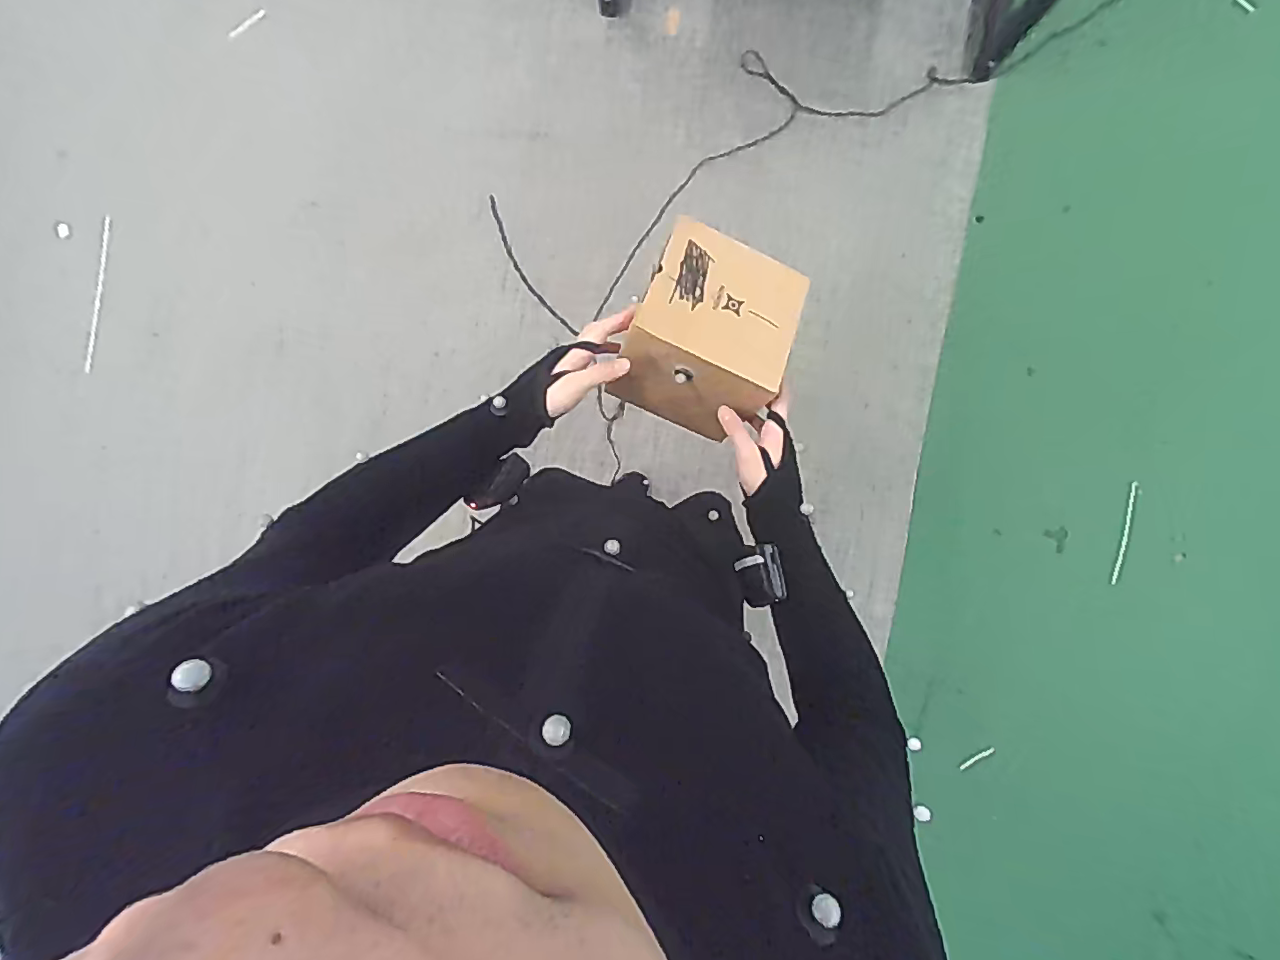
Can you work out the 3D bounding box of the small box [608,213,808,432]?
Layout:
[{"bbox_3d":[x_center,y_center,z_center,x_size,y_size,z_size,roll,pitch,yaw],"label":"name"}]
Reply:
[{"bbox_3d":[0.074,-0.180,0.673,0.179,0.176,0.168,23,70,-7],"label":"small box"}]
